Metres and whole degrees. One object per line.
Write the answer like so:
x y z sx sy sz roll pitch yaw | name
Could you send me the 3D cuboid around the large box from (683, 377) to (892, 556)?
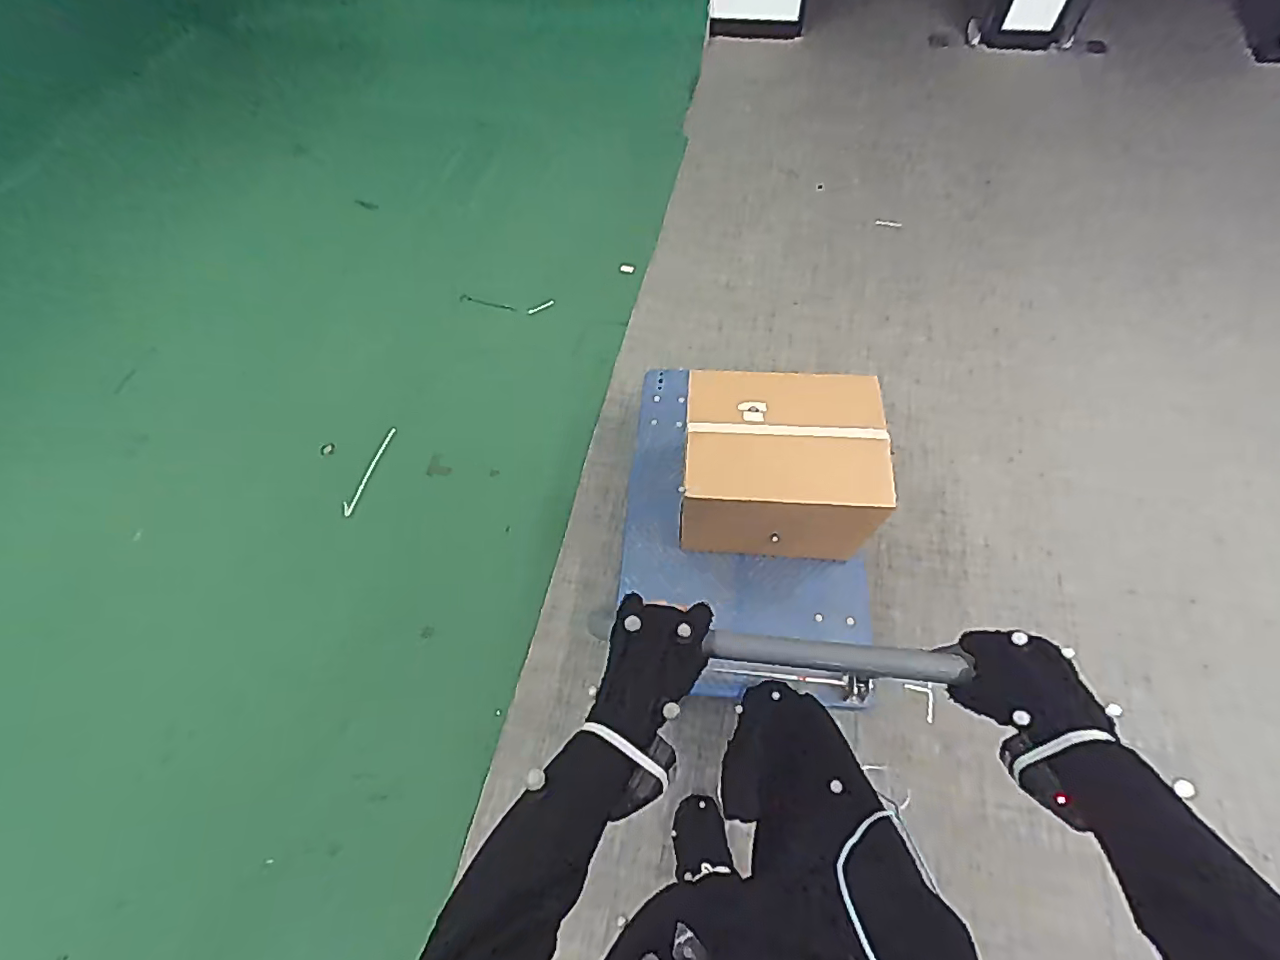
0.308 -0.021 1.245 0.408 0.320 0.320 3 63 6 | large box
